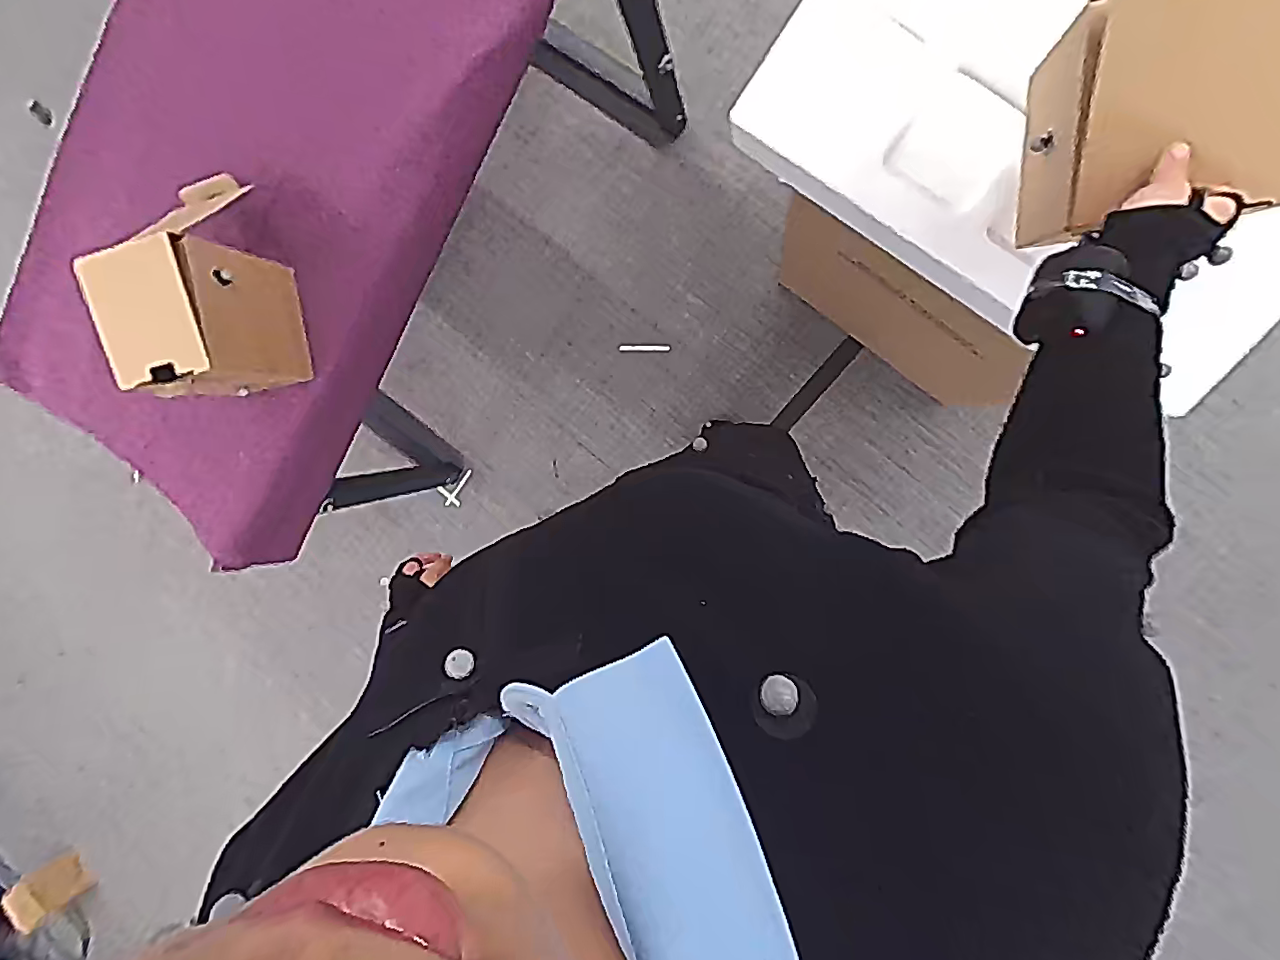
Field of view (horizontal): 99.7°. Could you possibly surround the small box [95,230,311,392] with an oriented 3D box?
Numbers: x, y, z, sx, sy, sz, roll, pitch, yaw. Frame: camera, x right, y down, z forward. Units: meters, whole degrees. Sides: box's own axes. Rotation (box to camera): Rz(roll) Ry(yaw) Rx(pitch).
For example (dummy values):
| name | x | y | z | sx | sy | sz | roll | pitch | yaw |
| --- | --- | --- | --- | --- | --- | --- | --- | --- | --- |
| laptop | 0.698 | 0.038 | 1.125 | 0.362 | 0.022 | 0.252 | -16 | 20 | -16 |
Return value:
| name | x | y | z | sx | sy | sz | roll | pitch | yaw |
| --- | --- | --- | --- | --- | --- | --- | --- | --- | --- |
| small box | -0.622 | -0.231 | 0.788 | 0.168 | 0.176 | 0.179 | -7 | 94 | 15 |
